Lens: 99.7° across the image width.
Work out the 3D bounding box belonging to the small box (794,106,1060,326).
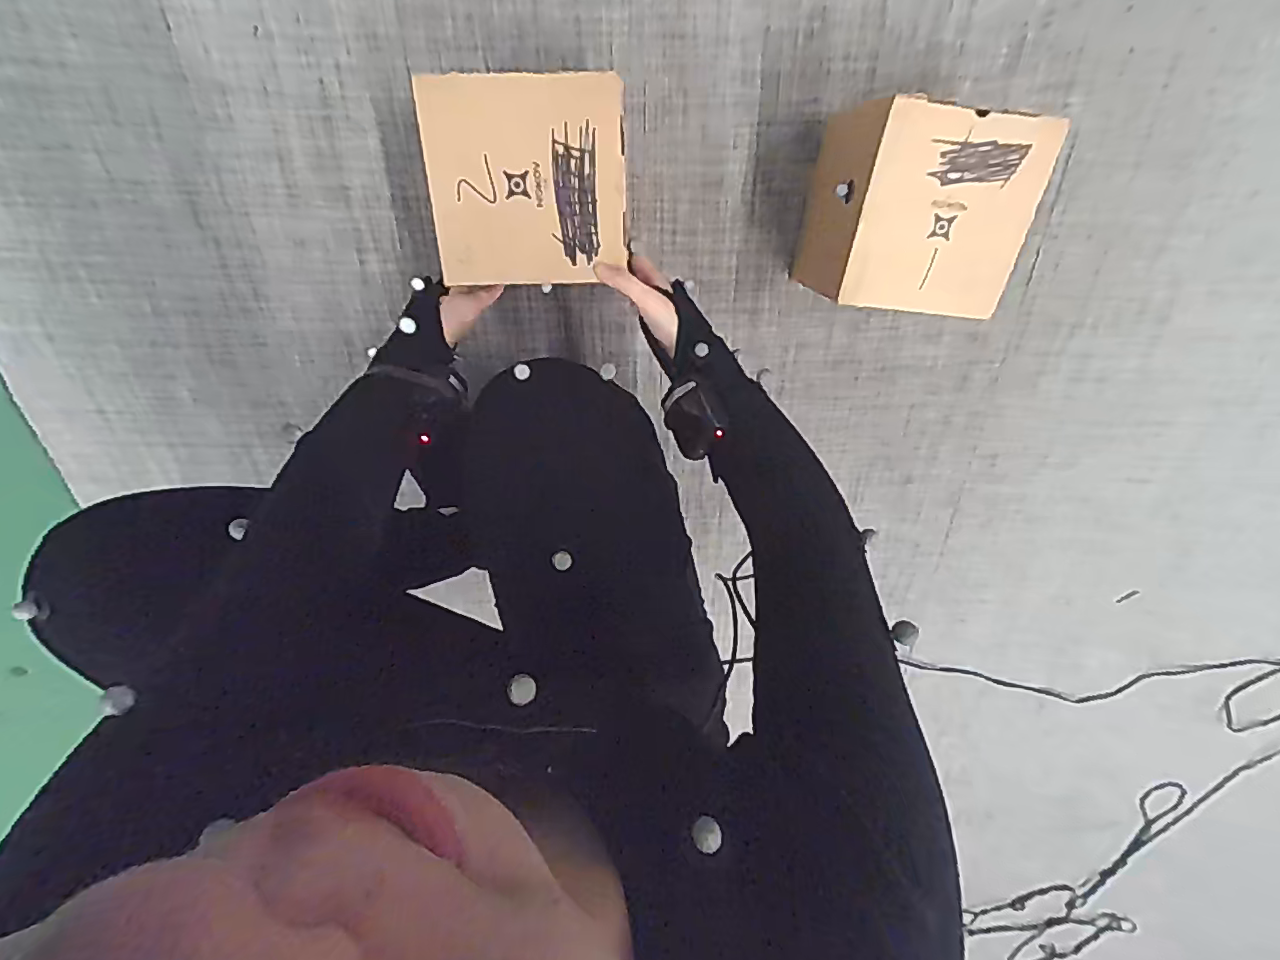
[{"bbox_3d":[0.282,-0.278,0.583,0.168,0.176,0.179,4,118,-5],"label":"small box"}]
